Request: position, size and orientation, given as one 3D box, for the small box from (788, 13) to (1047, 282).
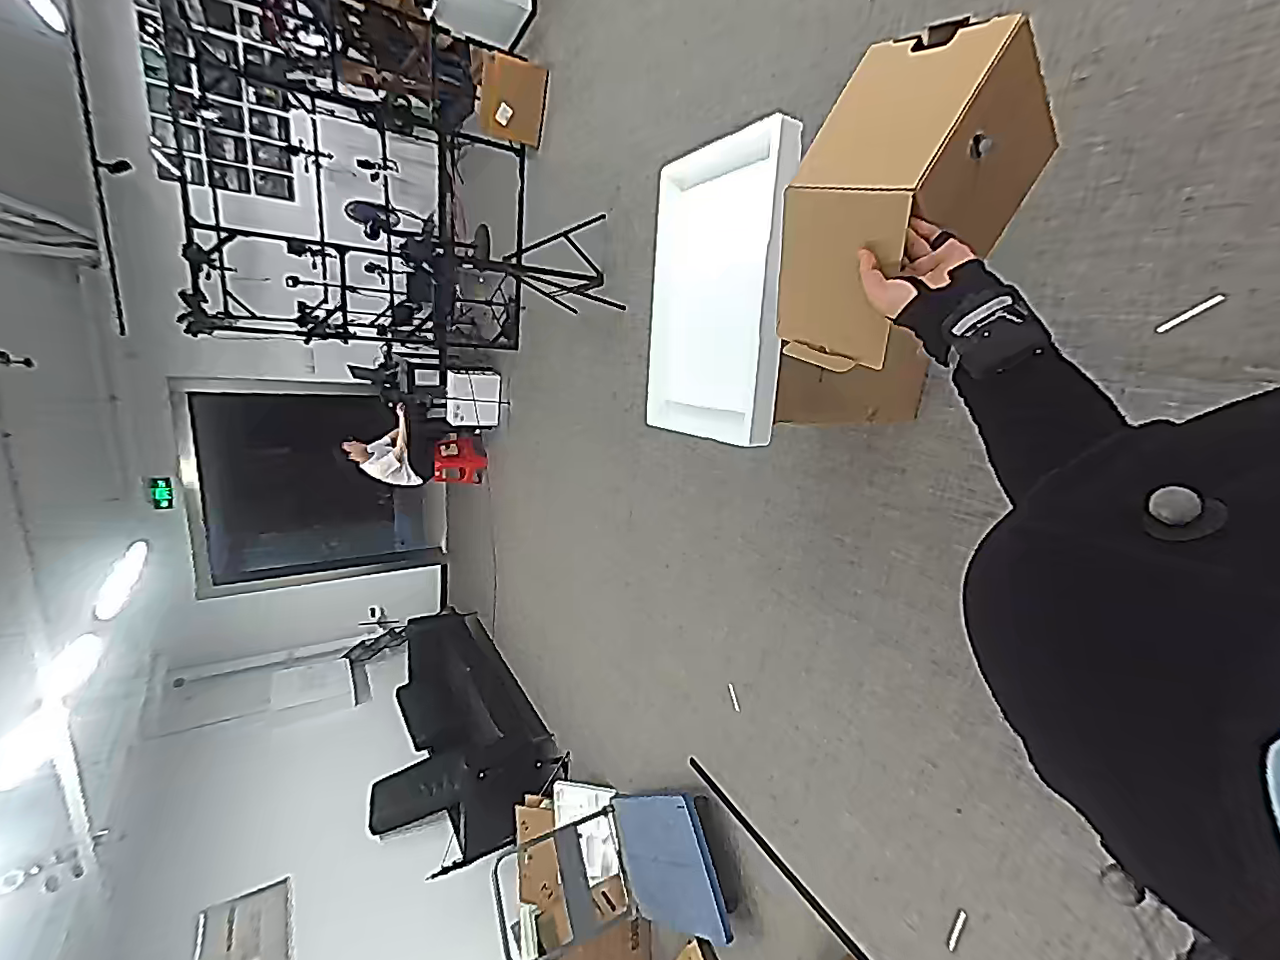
[{"bbox_3d":[0.308,-0.347,0.598,0.179,0.176,0.168,-58,41,7],"label":"small box"}]
